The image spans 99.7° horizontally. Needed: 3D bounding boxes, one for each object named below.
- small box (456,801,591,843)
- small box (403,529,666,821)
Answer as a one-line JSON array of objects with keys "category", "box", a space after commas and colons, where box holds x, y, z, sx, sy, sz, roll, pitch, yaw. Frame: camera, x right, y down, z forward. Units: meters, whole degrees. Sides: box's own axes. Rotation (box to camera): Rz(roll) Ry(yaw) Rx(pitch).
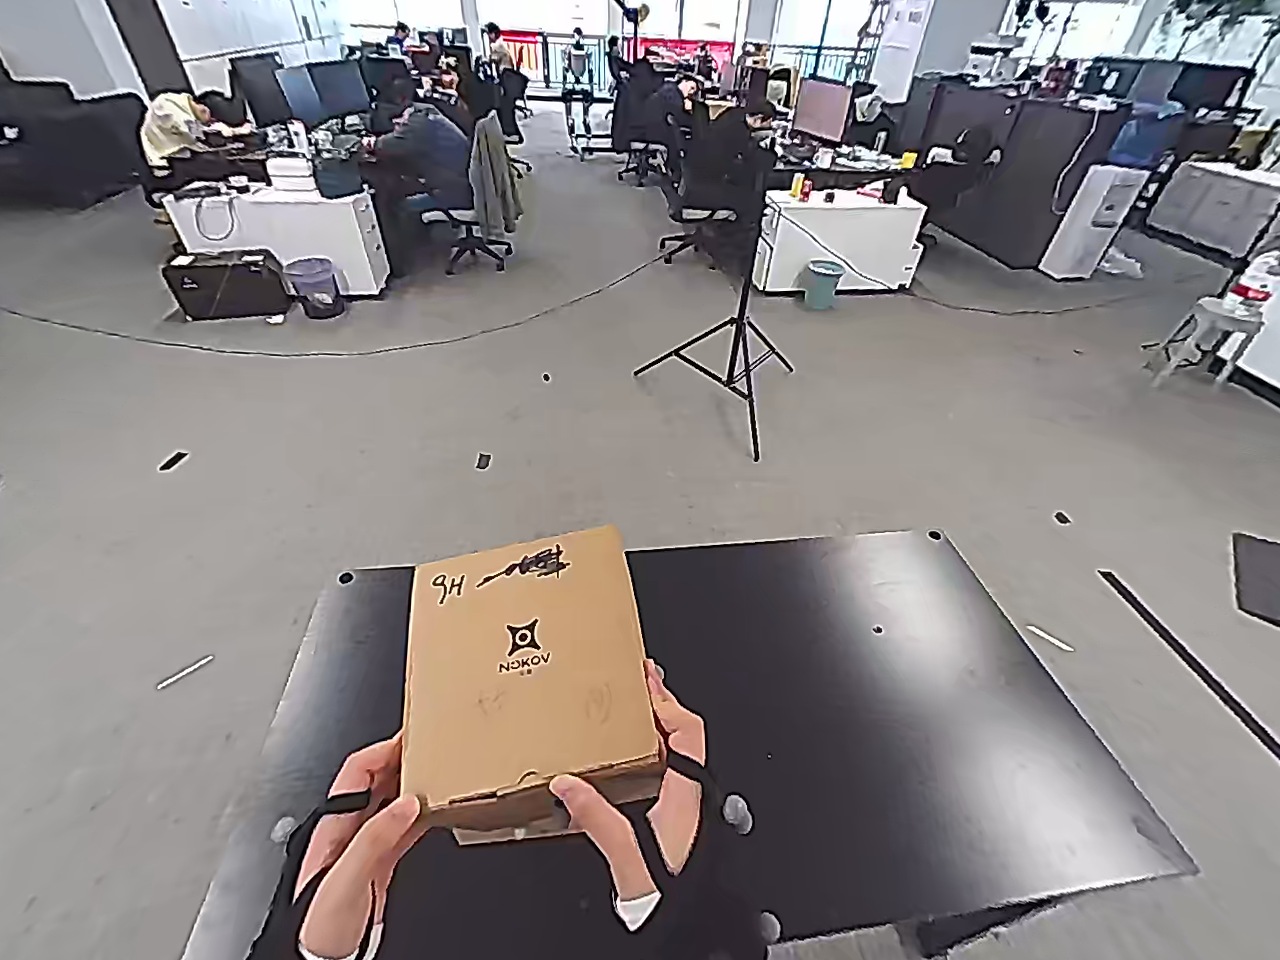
[{"category": "small box", "box": [-0.149, 0.335, 0.697, 0.168, 0.176, 0.179, -3, 41, -5]}, {"category": "small box", "box": [-0.076, 0.169, 0.451, 0.168, 0.176, 0.179, -12, 55, -2]}]
